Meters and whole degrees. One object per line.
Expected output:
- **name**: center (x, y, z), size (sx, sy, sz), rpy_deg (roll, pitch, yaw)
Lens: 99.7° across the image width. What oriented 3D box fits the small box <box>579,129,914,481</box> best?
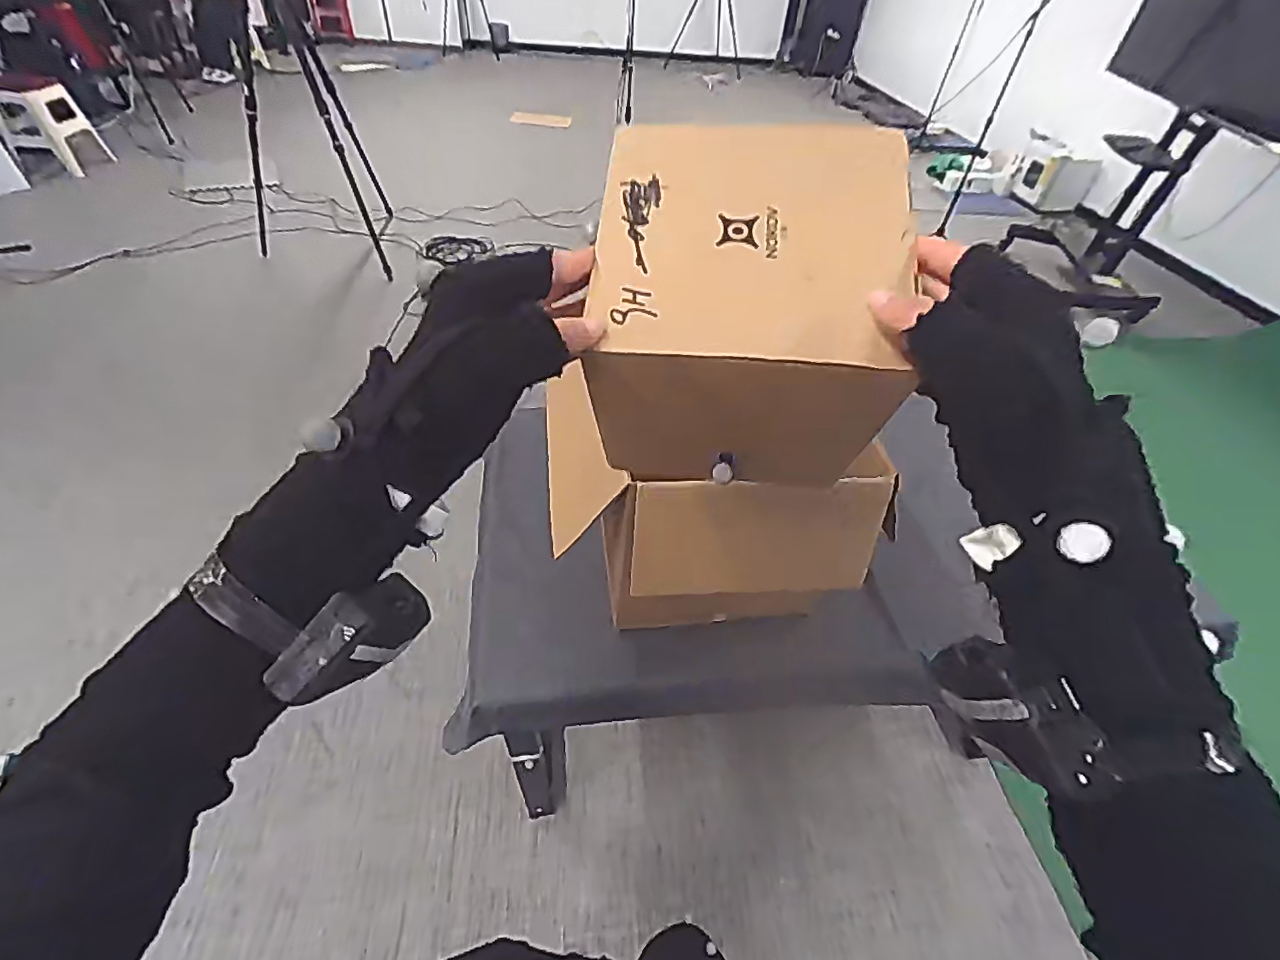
- **small box**: center (0.065, -0.106, 0.380), size (0.179, 0.176, 0.168), rpy_deg (5, 70, 4)
